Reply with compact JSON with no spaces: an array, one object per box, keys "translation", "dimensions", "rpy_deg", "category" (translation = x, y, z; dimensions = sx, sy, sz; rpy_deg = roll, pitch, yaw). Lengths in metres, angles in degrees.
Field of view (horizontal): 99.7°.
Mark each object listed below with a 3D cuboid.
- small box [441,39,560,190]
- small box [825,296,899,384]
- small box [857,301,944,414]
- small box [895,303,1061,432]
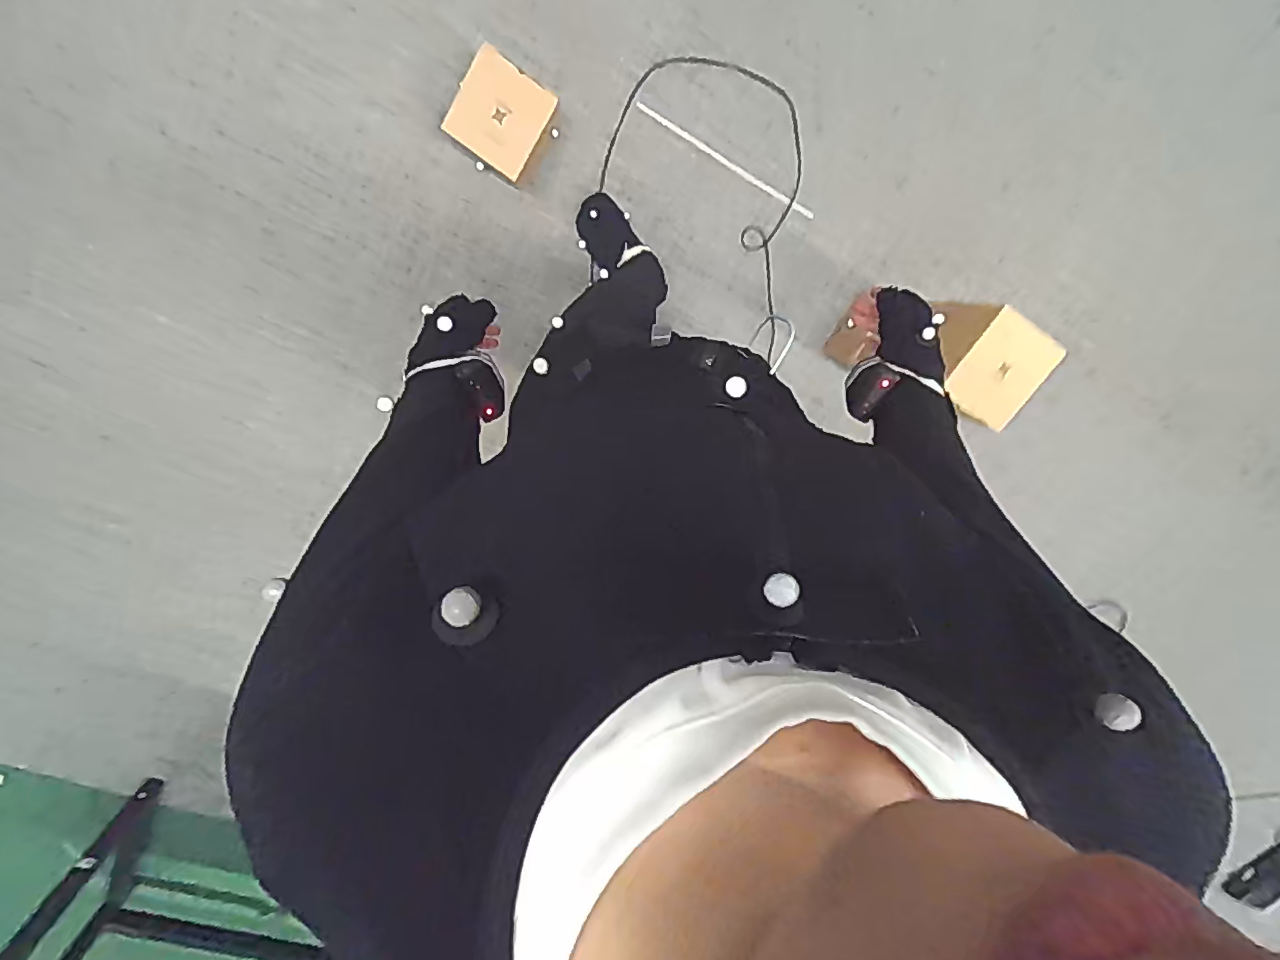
[{"translation":[-0.275,-0.729,1.102],"dimensions":[0.168,0.176,0.179],"rpy_deg":[32,106,-16],"category":"small box"},{"translation":[0.599,-0.342,1.348],"dimensions":[0.179,0.176,0.168],"rpy_deg":[27,107,-15],"category":"small box"},{"translation":[0.619,-0.278,1.198],"dimensions":[0.168,0.176,0.179],"rpy_deg":[28,107,-15],"category":"small box"},{"translation":[0.638,-0.225,1.045],"dimensions":[0.168,0.176,0.179],"rpy_deg":[28,107,-15],"category":"small box"}]
